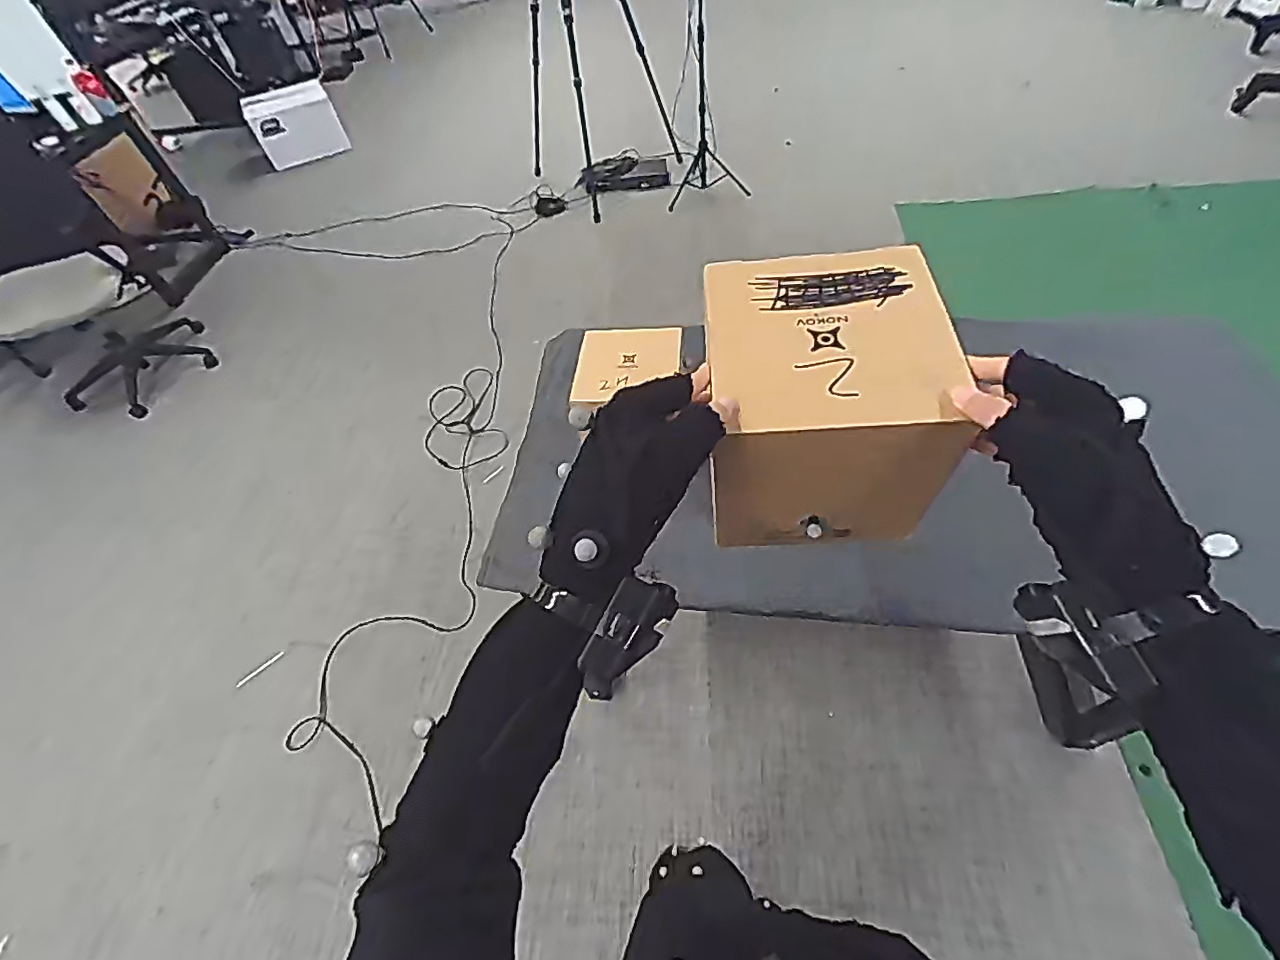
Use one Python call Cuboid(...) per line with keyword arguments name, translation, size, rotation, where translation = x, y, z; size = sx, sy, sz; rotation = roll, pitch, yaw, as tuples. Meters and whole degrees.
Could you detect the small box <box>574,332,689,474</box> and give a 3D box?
Cuboid(name="small box", translation=(-0.004, -0.131, 0.922), size=(0.168, 0.176, 0.179), rotation=(0, 52, 8))
